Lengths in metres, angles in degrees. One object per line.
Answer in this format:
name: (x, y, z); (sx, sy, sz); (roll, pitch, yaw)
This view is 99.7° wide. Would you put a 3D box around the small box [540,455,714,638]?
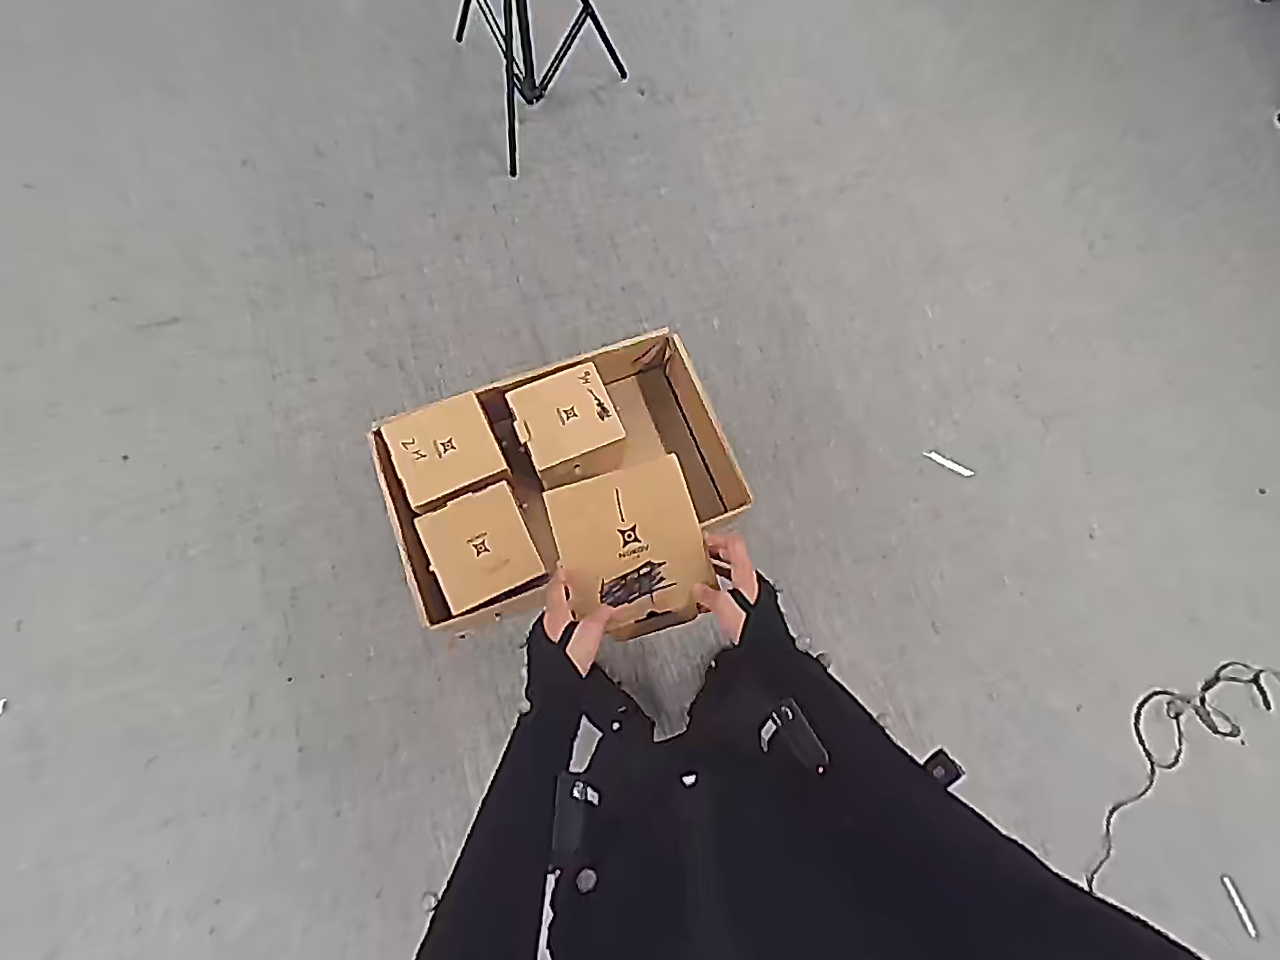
small box: (-0.015, 0.087, 0.694); (0.168, 0.176, 0.179); (-16, 79, -3)
